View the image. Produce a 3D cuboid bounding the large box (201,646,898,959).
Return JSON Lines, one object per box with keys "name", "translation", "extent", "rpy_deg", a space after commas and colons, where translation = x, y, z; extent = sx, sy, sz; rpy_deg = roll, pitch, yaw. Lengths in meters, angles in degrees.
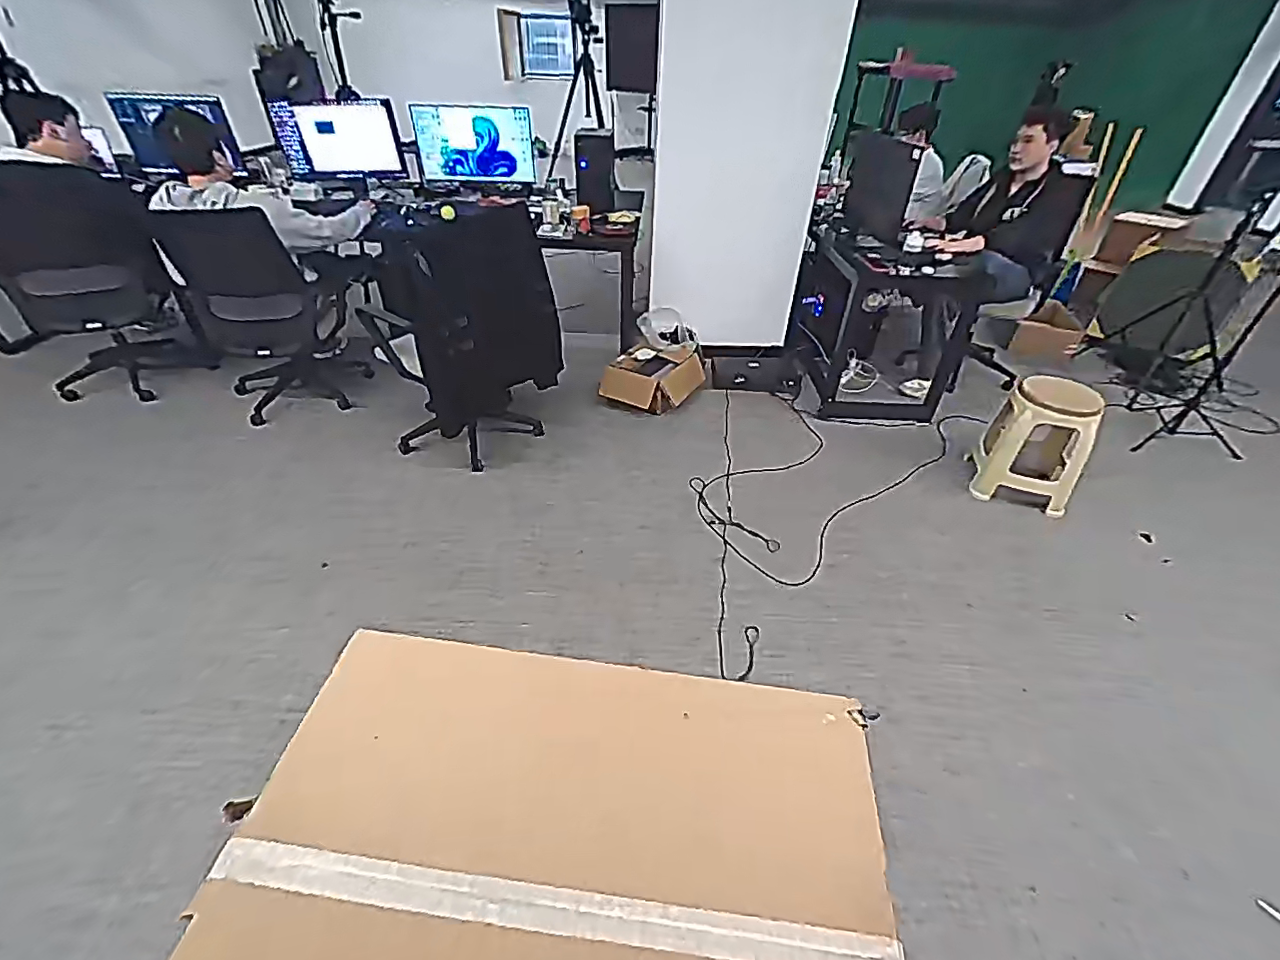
{"name": "large box", "translation": [-0.054, 0.368, 0.430], "extent": [0.408, 0.320, 0.320], "rpy_deg": [7, 45, 2]}
